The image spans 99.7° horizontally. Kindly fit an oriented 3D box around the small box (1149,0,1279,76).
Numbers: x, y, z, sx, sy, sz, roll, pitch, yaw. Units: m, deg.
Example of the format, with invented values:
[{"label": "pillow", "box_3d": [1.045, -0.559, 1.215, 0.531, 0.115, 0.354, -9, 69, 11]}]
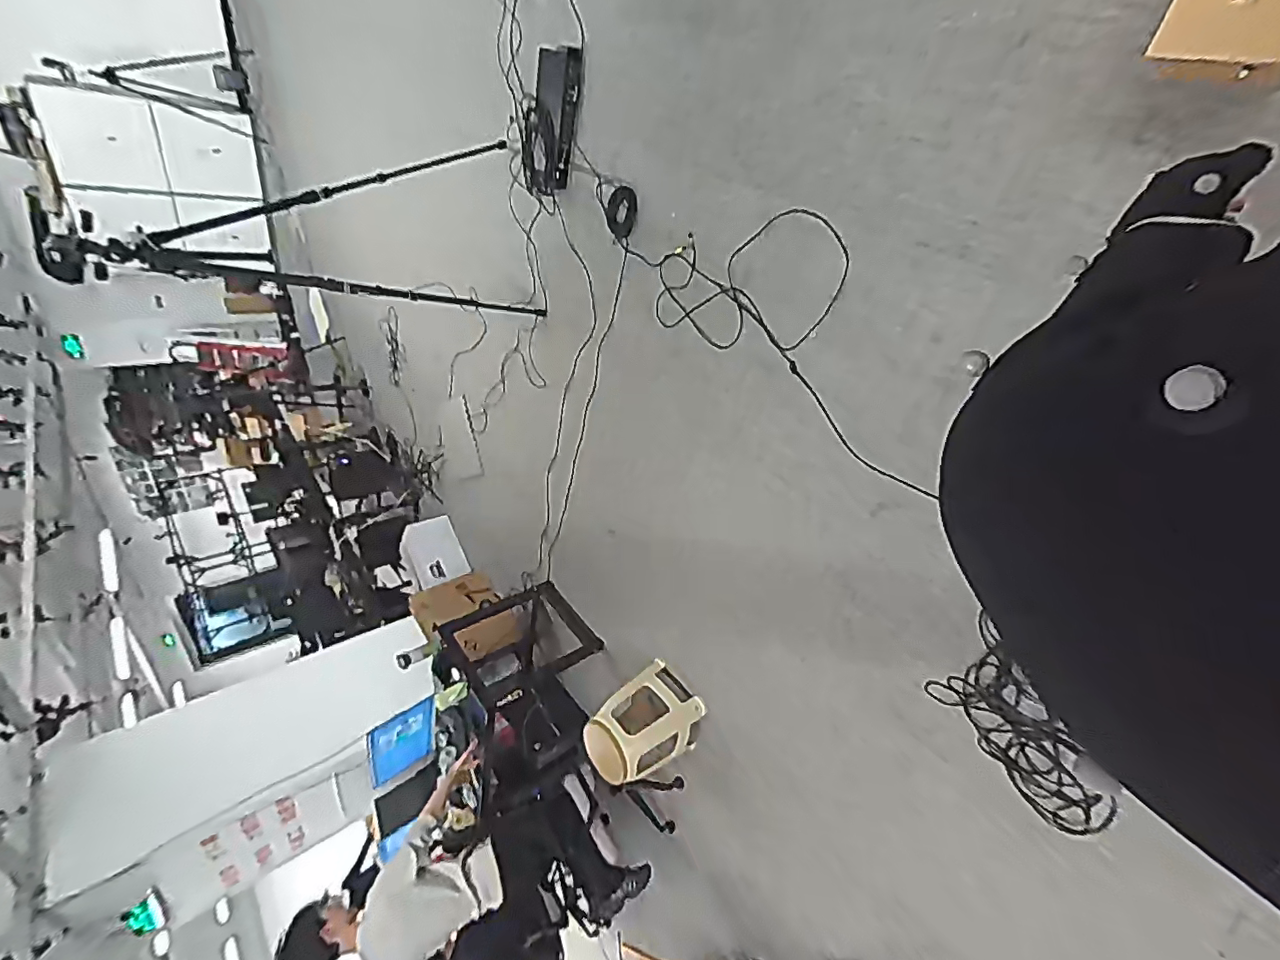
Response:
[{"label": "small box", "box_3d": [0.956, -0.747, 0.838, 0.179, 0.176, 0.168, 37, 131, 36]}]
